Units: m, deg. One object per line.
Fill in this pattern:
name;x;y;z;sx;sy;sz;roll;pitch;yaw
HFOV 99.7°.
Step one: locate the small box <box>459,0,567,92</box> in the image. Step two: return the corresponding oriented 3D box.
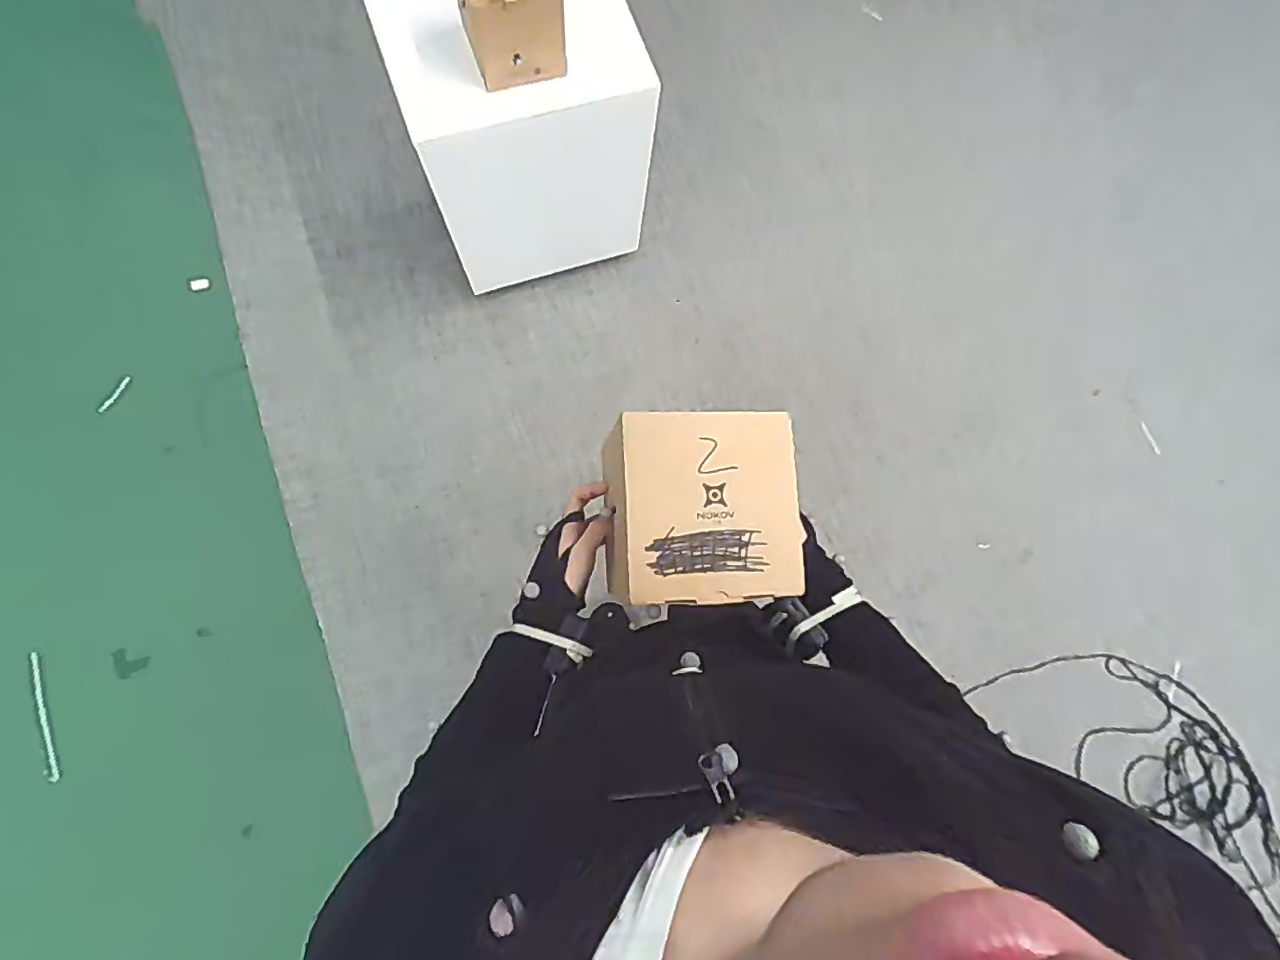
small box;-0.238;-0.866;0.991;0.168;0.176;0.179;-18;80;-8
